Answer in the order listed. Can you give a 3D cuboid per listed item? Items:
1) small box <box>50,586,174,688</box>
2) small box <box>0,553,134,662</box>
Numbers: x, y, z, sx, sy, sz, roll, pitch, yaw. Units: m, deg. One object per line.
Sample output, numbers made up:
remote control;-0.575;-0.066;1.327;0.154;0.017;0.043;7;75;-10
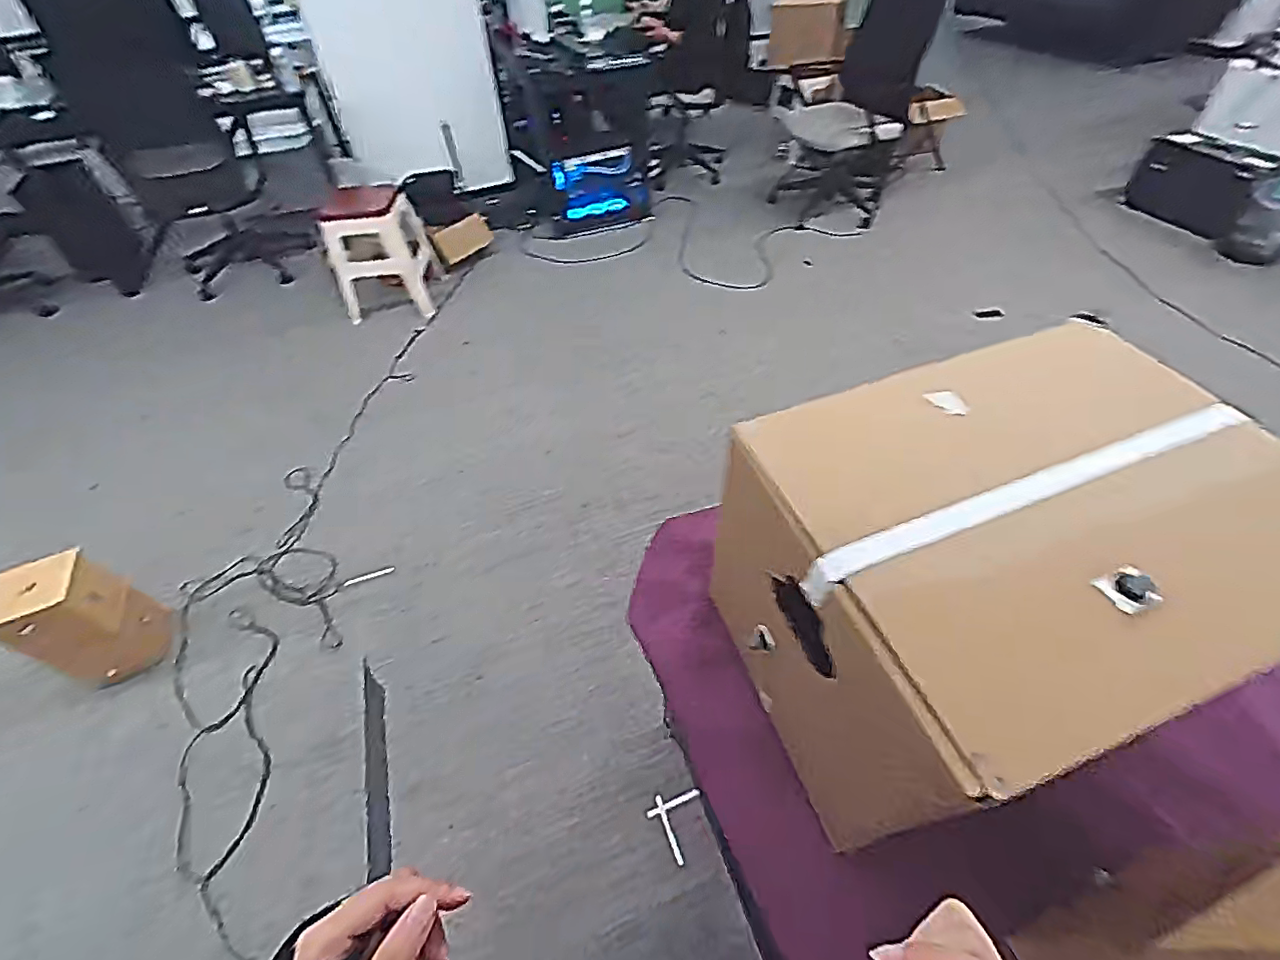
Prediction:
small box;-1.399;0.422;1.449;0.168;0.176;0.179;-24;52;-14
small box;-1.406;0.315;1.328;0.179;0.176;0.168;-22;51;-13
